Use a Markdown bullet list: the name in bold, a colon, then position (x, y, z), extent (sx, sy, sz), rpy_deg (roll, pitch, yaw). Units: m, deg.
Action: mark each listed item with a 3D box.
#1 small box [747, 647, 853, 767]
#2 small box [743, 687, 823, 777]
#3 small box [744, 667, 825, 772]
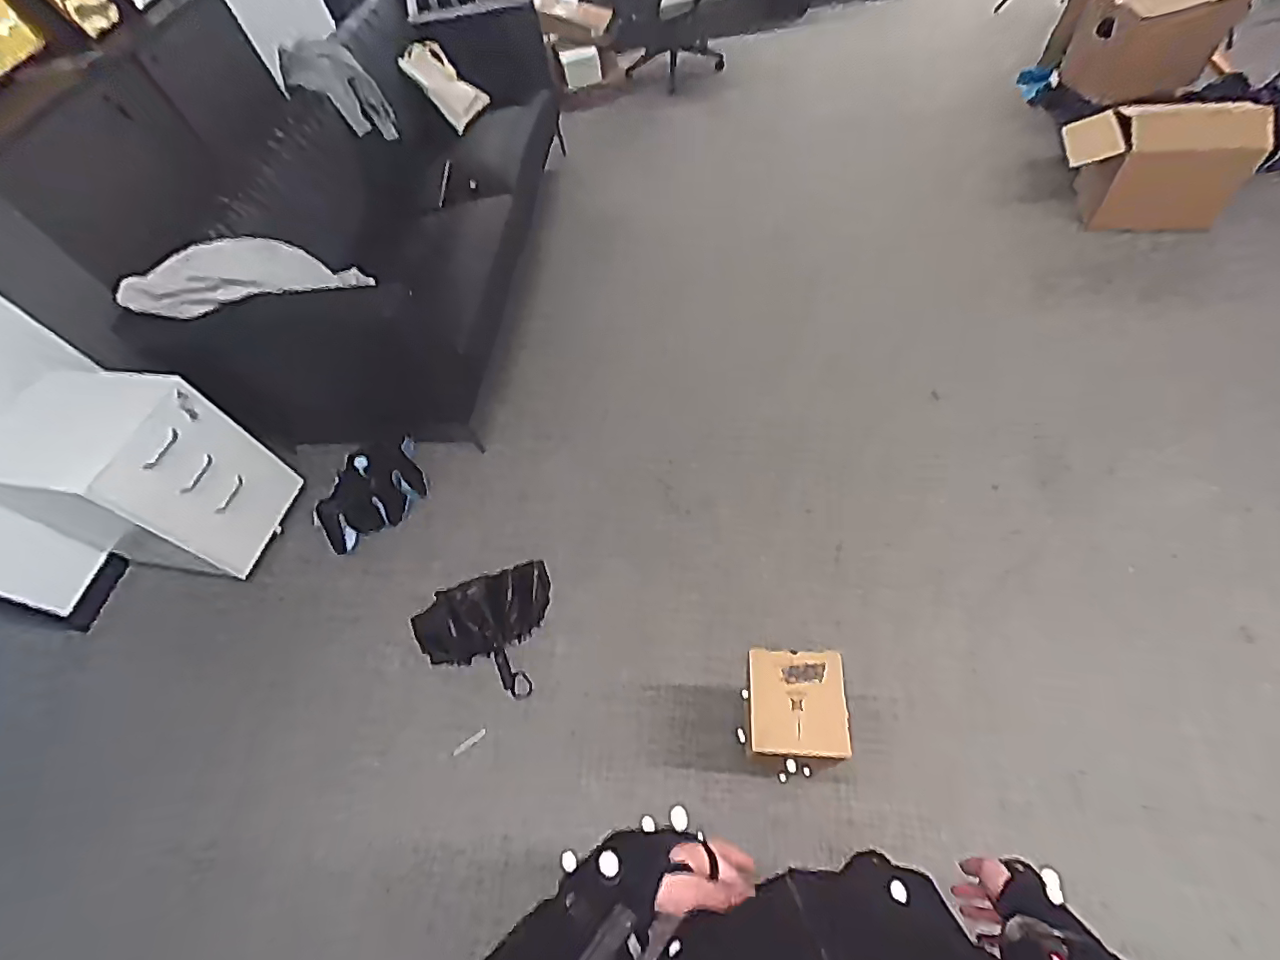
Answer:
- **small box**: position (0.288, 0.425, 1.007), extent (0.168, 0.176, 0.179), rpy_deg (0, 59, 9)
- **small box**: position (0.332, 0.600, 1.281), extent (0.168, 0.176, 0.179), rpy_deg (-2, 57, 9)
- **small box**: position (0.309, 0.511, 1.147), extent (0.168, 0.176, 0.179), rpy_deg (-1, 56, 9)
